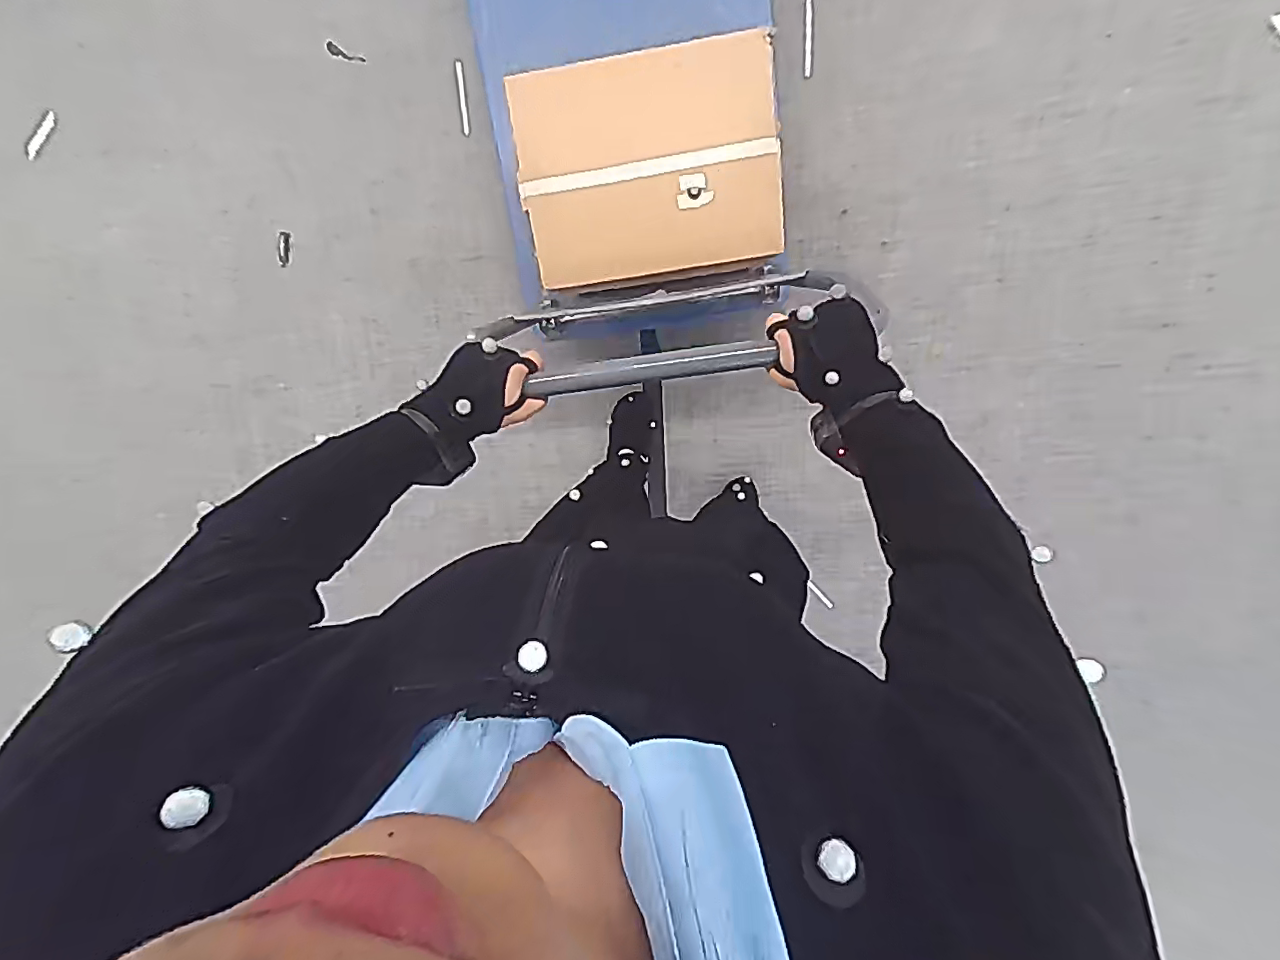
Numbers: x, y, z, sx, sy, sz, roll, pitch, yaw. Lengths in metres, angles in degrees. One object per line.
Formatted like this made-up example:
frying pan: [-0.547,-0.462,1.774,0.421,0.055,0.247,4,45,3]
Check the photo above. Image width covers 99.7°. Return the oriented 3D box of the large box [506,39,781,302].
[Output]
large box: [0.015,-0.520,0.994,0.408,0.320,0.320,-8,108,4]
